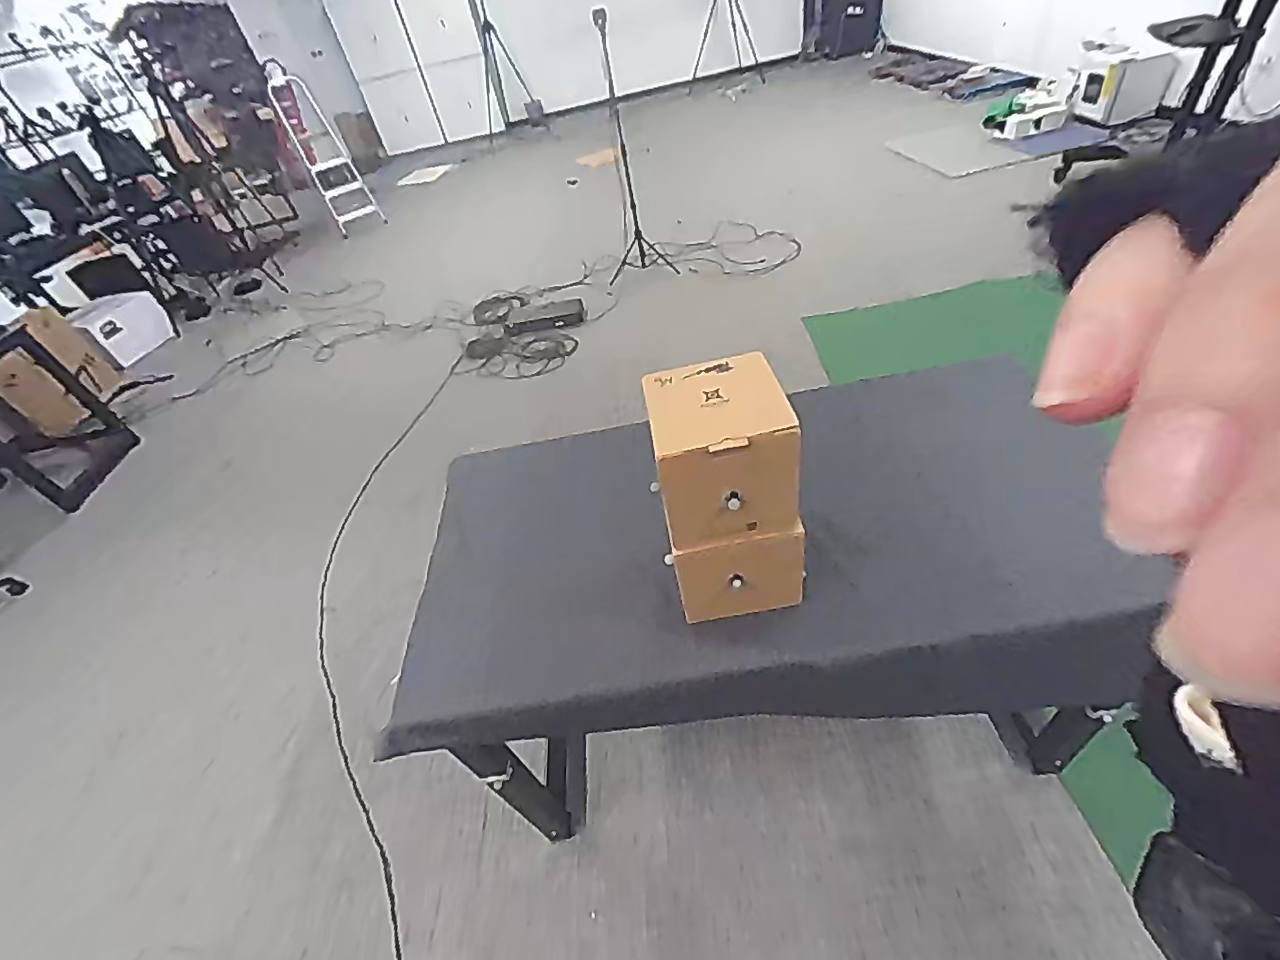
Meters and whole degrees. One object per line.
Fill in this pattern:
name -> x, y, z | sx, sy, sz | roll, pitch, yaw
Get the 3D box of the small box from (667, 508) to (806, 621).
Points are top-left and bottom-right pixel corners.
small box -> 0.139, 0.090, 0.816 | 0.179, 0.176, 0.168 | -11, 42, 4

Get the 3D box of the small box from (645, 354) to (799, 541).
small box -> 0.107, -0.036, 0.716 | 0.168, 0.176, 0.179 | -11, 43, 3
